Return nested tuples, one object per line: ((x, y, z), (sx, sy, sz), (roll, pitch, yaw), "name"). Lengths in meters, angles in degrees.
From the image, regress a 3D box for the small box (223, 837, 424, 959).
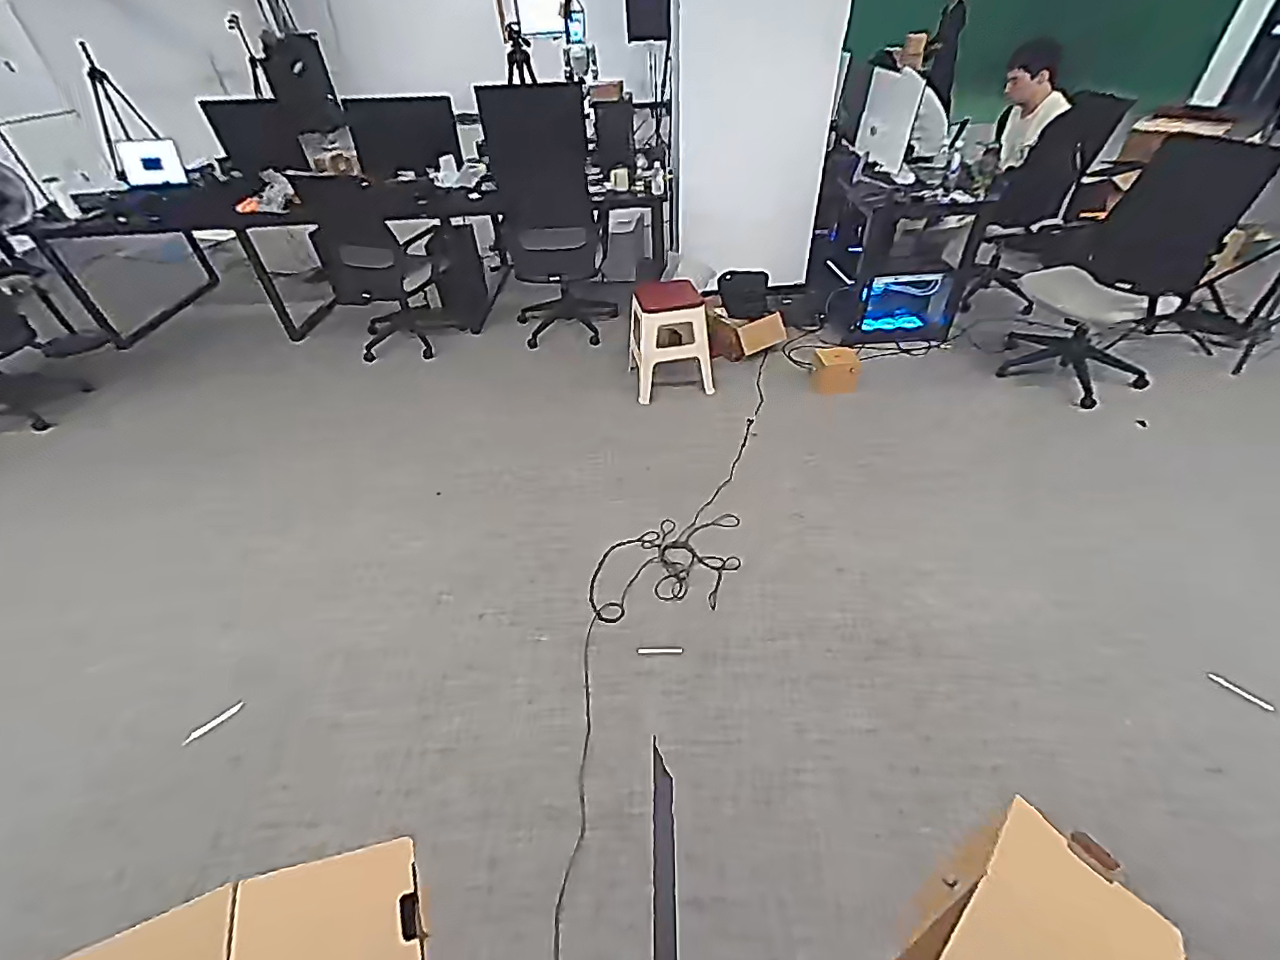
((-0.344, 0.531, 0.580), (0.179, 0.176, 0.168), (6, 34, -34), "small box")
